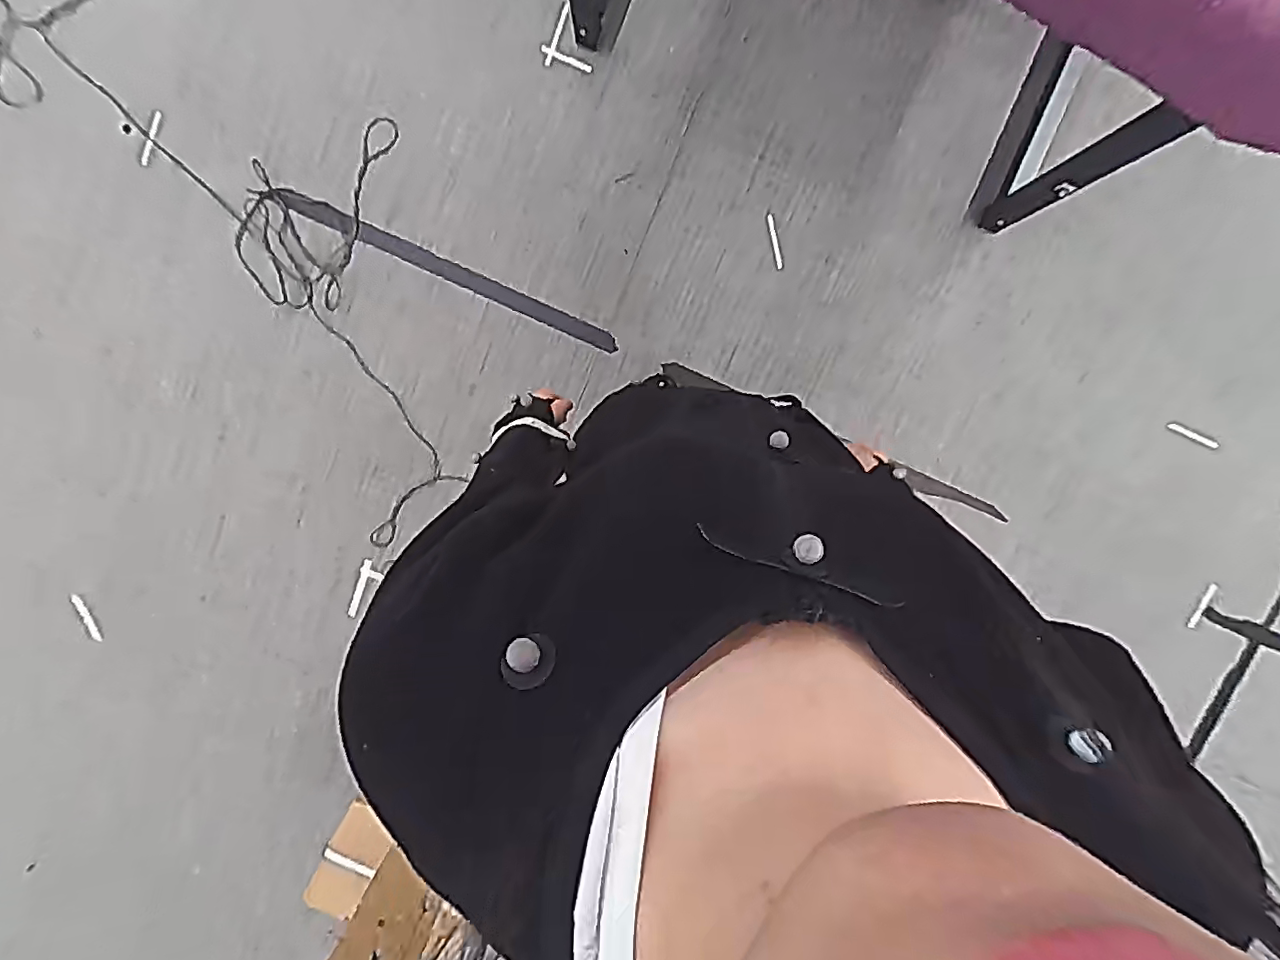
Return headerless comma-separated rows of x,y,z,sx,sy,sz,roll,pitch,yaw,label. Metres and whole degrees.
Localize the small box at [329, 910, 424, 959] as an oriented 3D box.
-0.553,1.009,1.063,0.168,0.176,0.179,28,96,-3,small box
